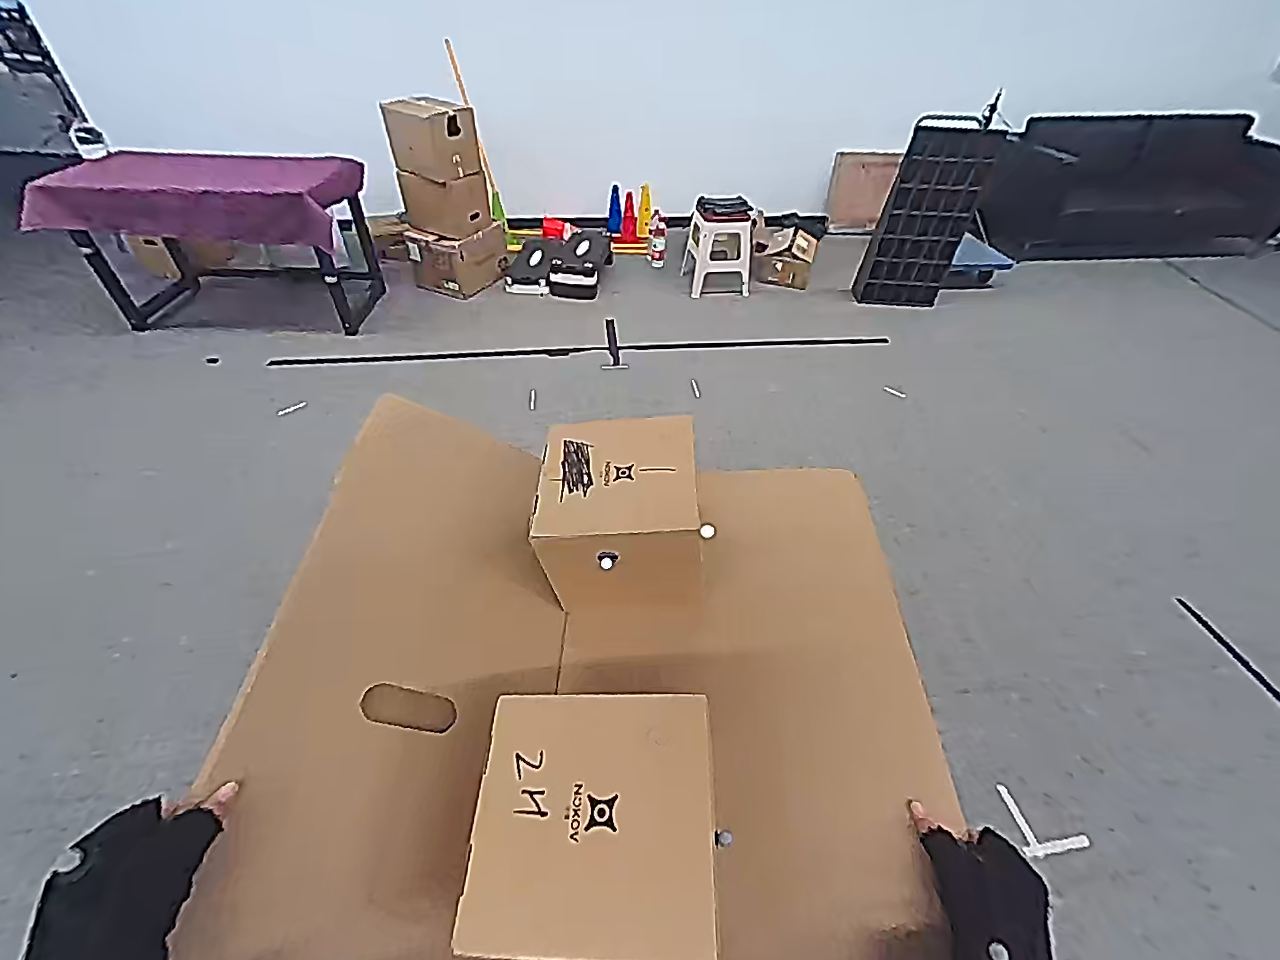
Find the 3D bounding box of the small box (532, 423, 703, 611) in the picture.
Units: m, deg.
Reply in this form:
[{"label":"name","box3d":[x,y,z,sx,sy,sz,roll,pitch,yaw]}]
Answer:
[{"label":"small box","box3d":[-0.016,0.051,0.667,0.179,0.176,0.168,-3,50,6]}]

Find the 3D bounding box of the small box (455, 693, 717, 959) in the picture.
[{"label":"small box","box3d":[-0.025,0.295,0.463,0.179,0.176,0.168,-2,50,7]}]
